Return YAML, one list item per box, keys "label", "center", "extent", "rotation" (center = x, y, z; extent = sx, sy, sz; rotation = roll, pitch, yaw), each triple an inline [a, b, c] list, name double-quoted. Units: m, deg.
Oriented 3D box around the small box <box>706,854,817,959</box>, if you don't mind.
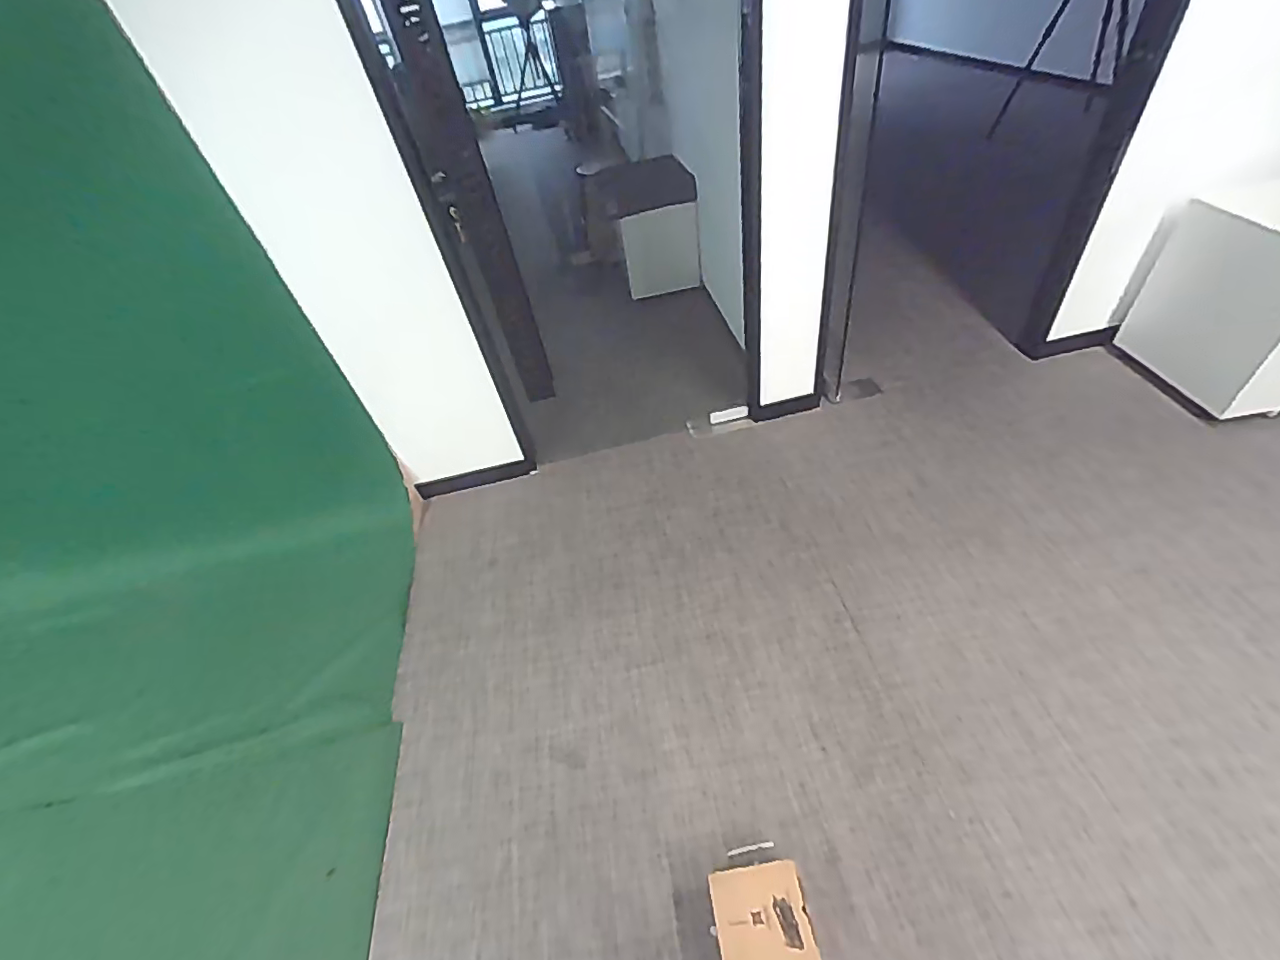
- label: "small box"
  center: [0.237, 0.872, 1.080]
  extent: [0.179, 0.176, 0.168]
  rotation: [-12, 44, 2]
